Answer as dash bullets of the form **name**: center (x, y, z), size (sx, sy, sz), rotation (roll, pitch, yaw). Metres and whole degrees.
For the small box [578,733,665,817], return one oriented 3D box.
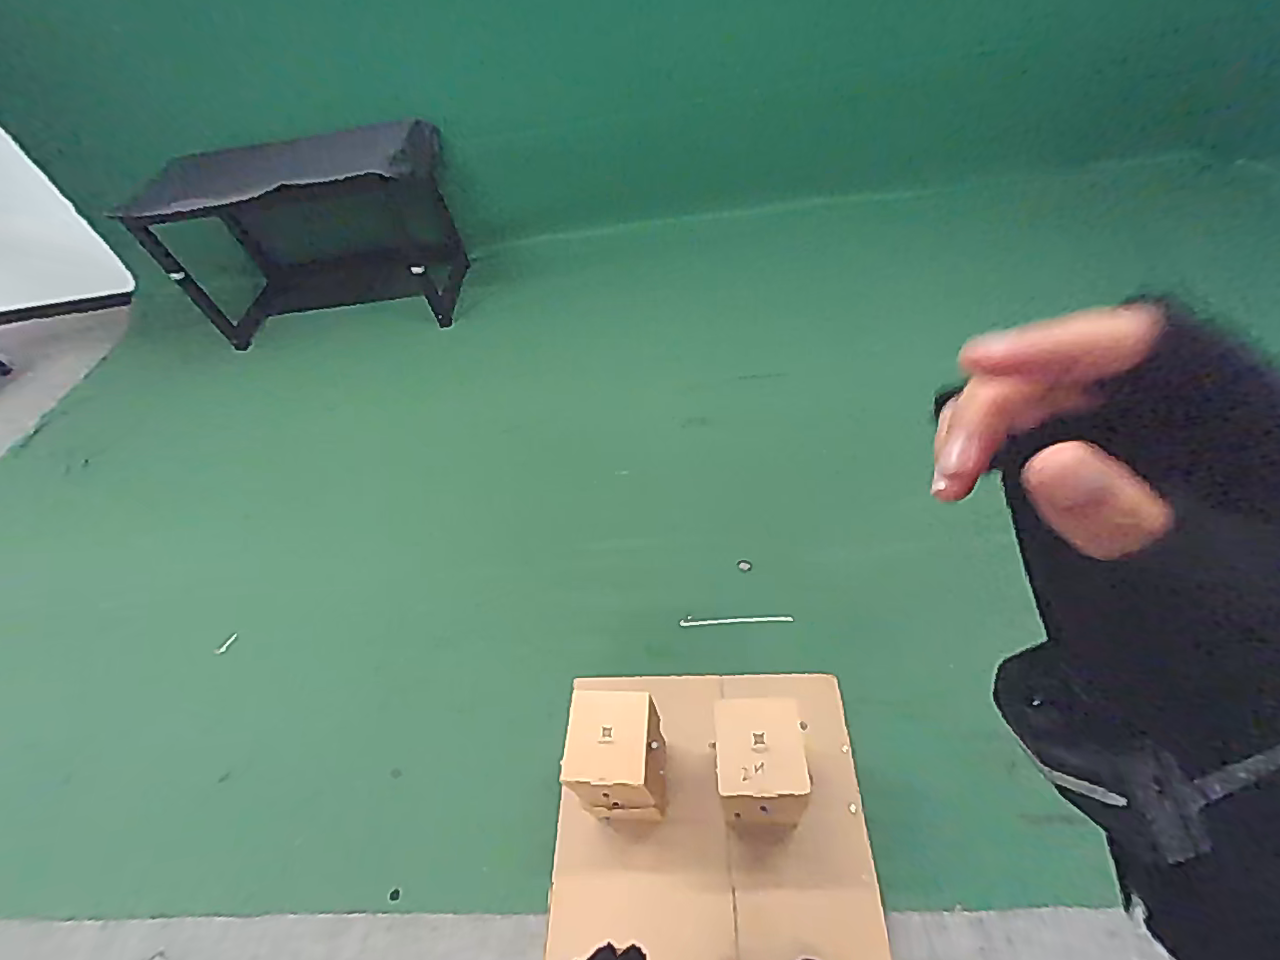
- **small box**: center (-0.034, 0.666, 1.249), size (0.168, 0.176, 0.179), rotation (-3, 49, 9)

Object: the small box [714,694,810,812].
- **small box**: center (0.237, 0.547, 1.081), size (0.168, 0.176, 0.179), rotation (-5, 49, 8)

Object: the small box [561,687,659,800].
- **small box**: center (-0.053, 0.552, 1.133), size (0.168, 0.176, 0.179), rotation (-2, 50, 9)
